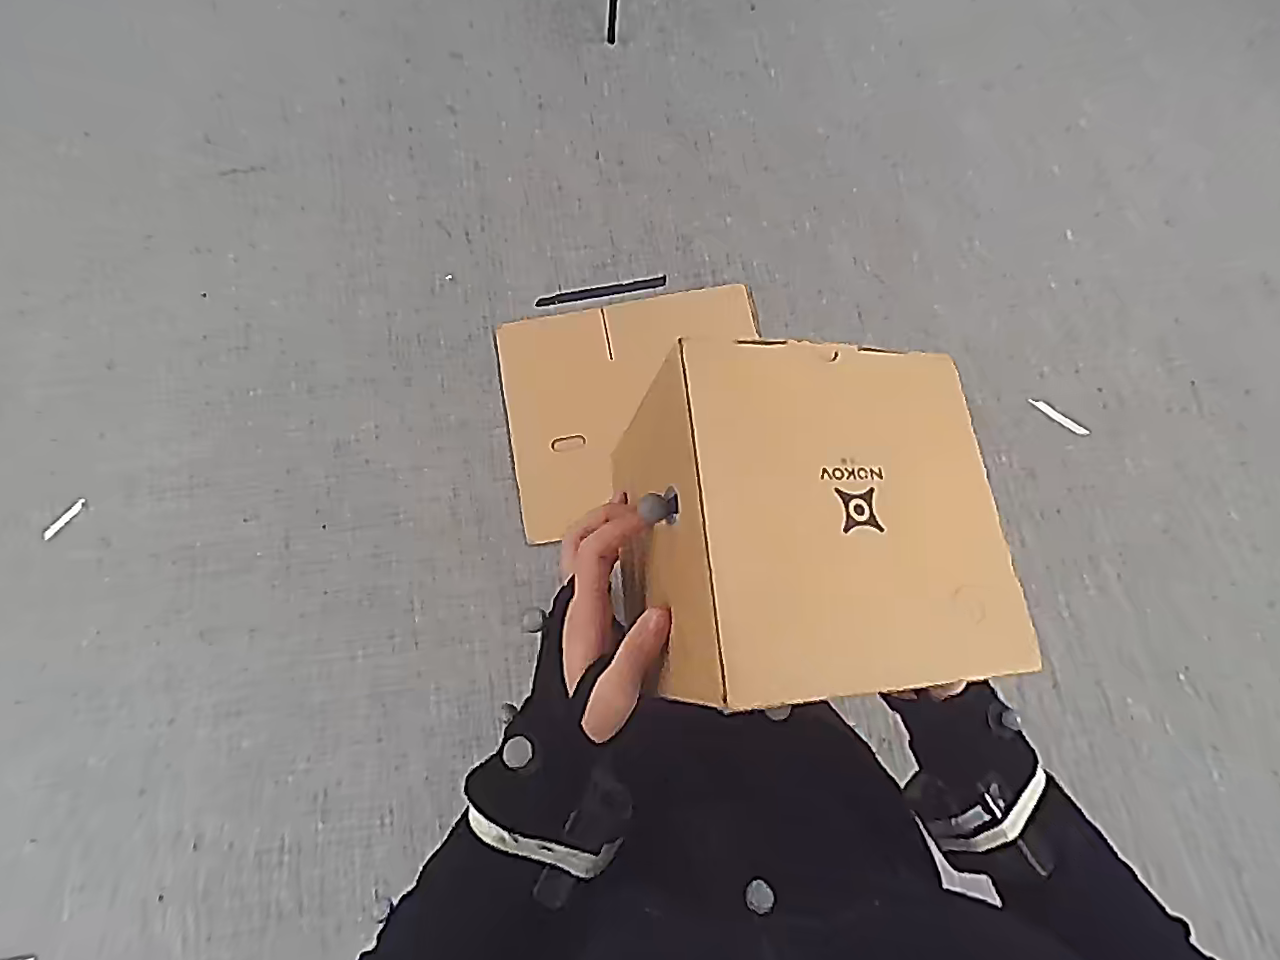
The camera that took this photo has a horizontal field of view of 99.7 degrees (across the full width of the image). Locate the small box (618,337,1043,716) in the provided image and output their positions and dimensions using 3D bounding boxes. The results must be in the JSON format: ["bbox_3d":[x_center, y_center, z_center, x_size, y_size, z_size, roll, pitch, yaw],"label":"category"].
[{"bbox_3d":[0.085,0.037,0.333,0.168,0.176,0.179,0,71,-15],"label":"small box"}]
